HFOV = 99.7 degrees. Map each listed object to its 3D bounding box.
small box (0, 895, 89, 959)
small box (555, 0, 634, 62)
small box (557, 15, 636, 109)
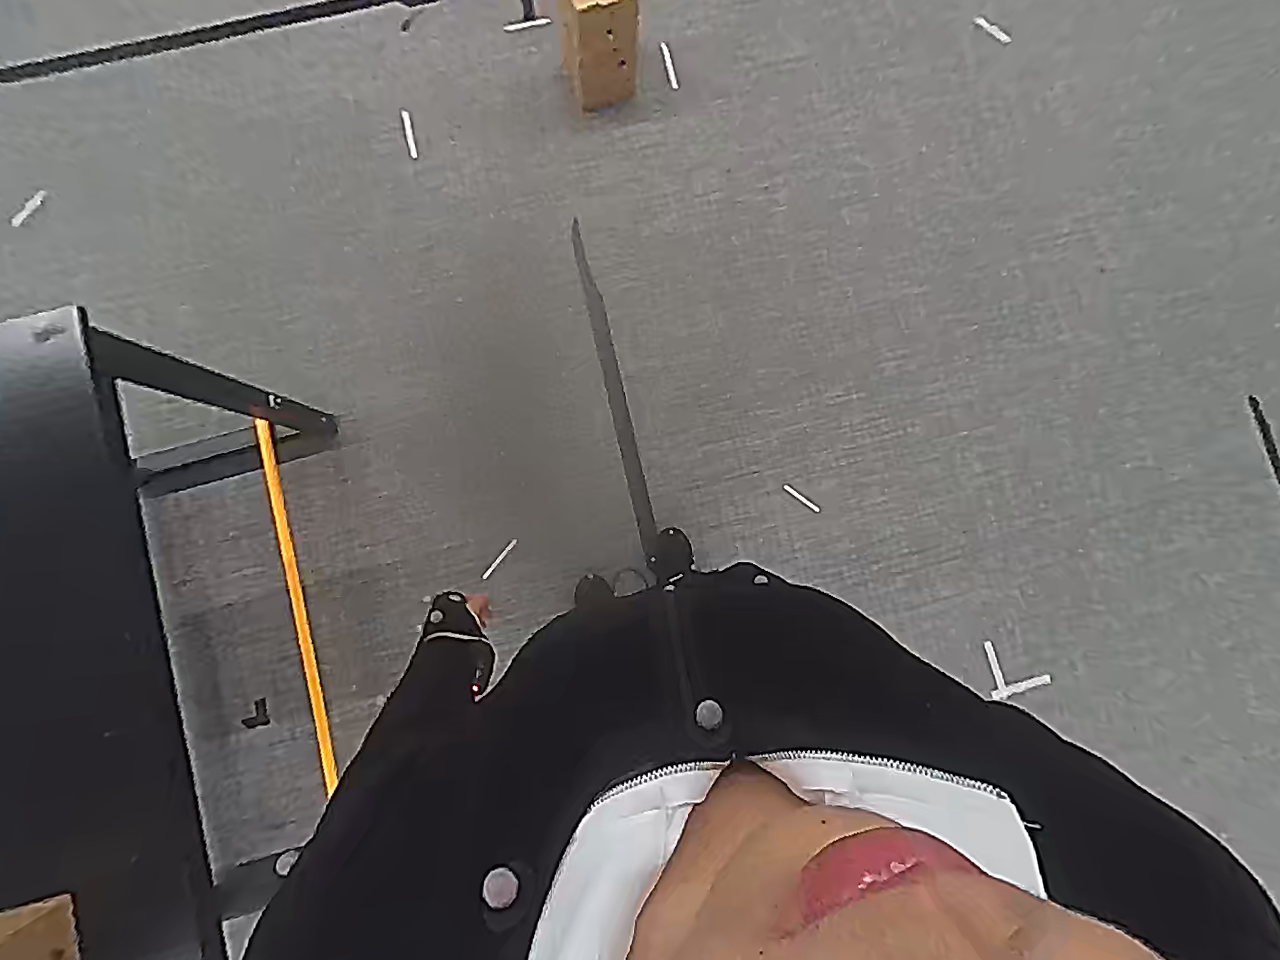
[{"bbox_3d":[-0.811,0.640,0.630,0.179,0.176,0.168,-15,87,-3],"label":"small box"},{"bbox_3d":[-0.117,-1.214,1.374,0.168,0.176,0.179,-22,87,-4],"label":"small box"},{"bbox_3d":[-0.123,-1.209,1.538,0.179,0.176,0.168,-20,86,-4],"label":"small box"}]
